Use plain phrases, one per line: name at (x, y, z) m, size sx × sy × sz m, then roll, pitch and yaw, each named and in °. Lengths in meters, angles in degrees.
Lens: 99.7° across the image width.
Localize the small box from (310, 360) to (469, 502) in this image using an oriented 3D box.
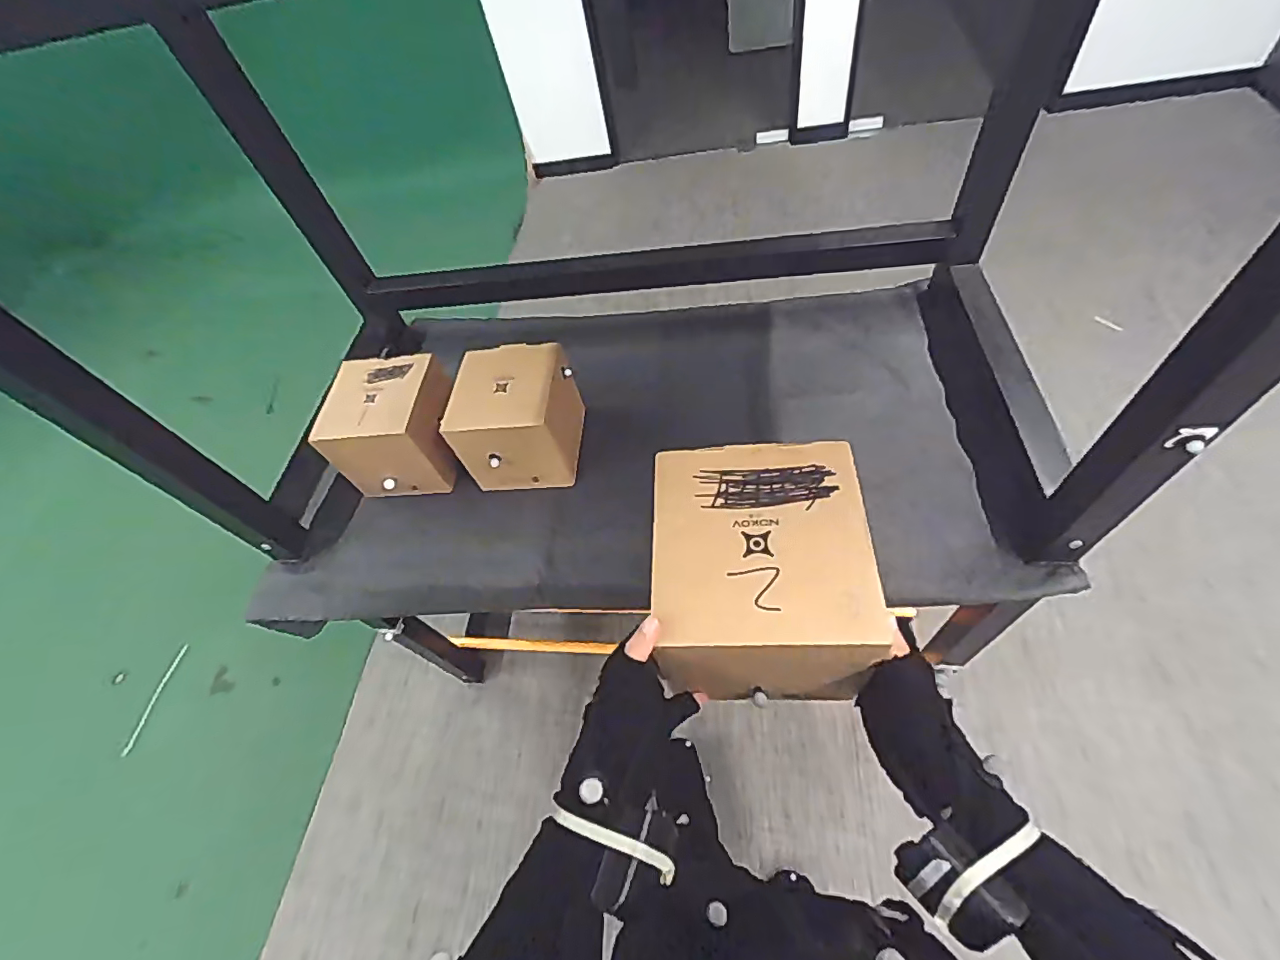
small box at (-0.415, -0.081, 0.935) m, size 0.168 × 0.176 × 0.179 m, roll -4°, pitch 55°, yaw 9°
